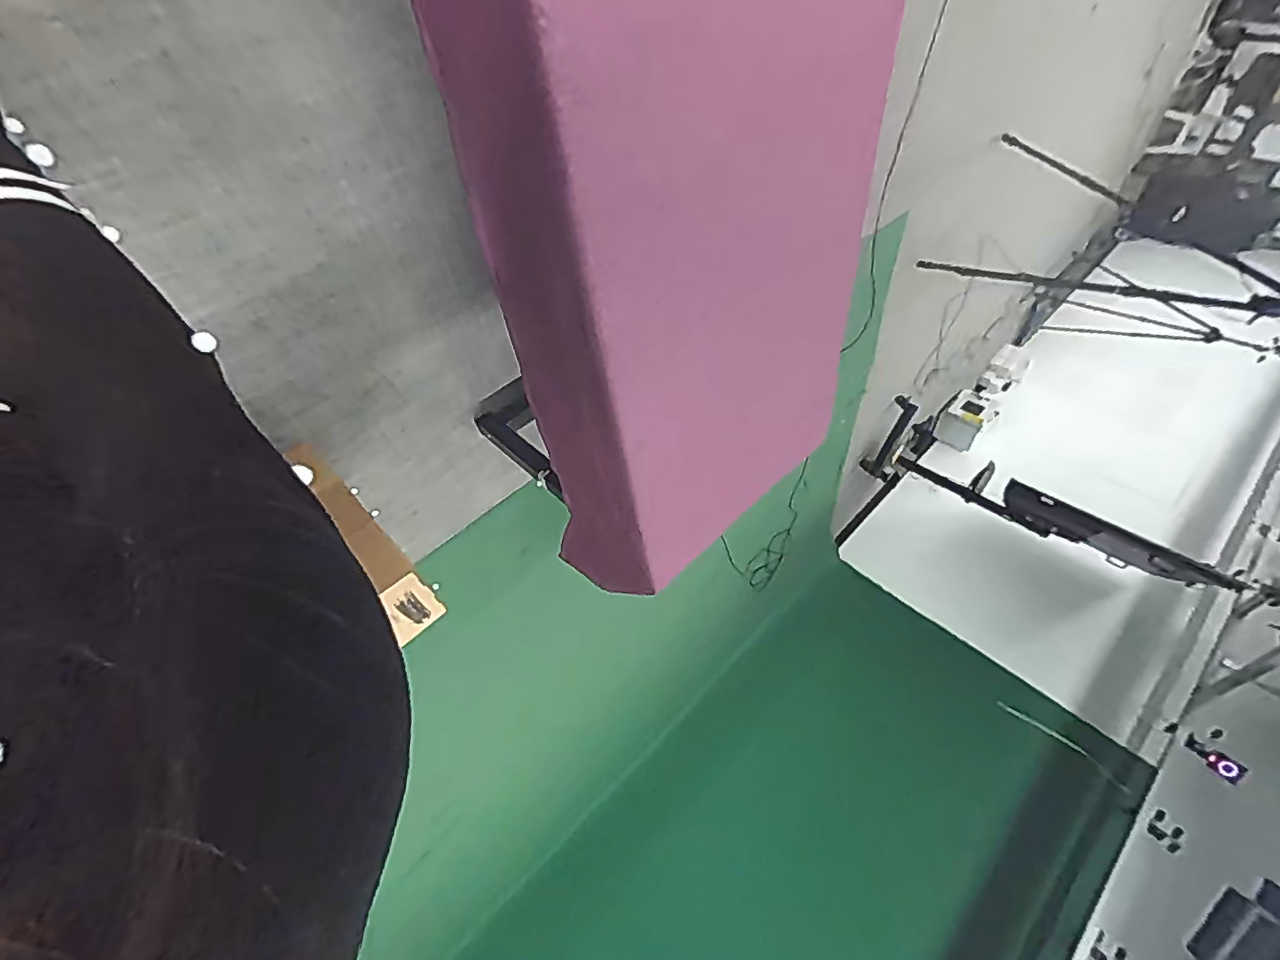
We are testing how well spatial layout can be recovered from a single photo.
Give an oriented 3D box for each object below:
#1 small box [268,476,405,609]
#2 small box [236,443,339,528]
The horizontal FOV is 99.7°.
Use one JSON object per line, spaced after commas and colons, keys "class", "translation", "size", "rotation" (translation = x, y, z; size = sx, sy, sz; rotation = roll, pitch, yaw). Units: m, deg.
{"class": "small box", "translation": [-0.636, 0.127, 1.129], "size": [0.179, 0.176, 0.168], "rotation": [-39, 147, -23]}
{"class": "small box", "translation": [-0.749, 0.040, 1.207], "size": [0.168, 0.176, 0.179], "rotation": [-40, 146, -21]}
